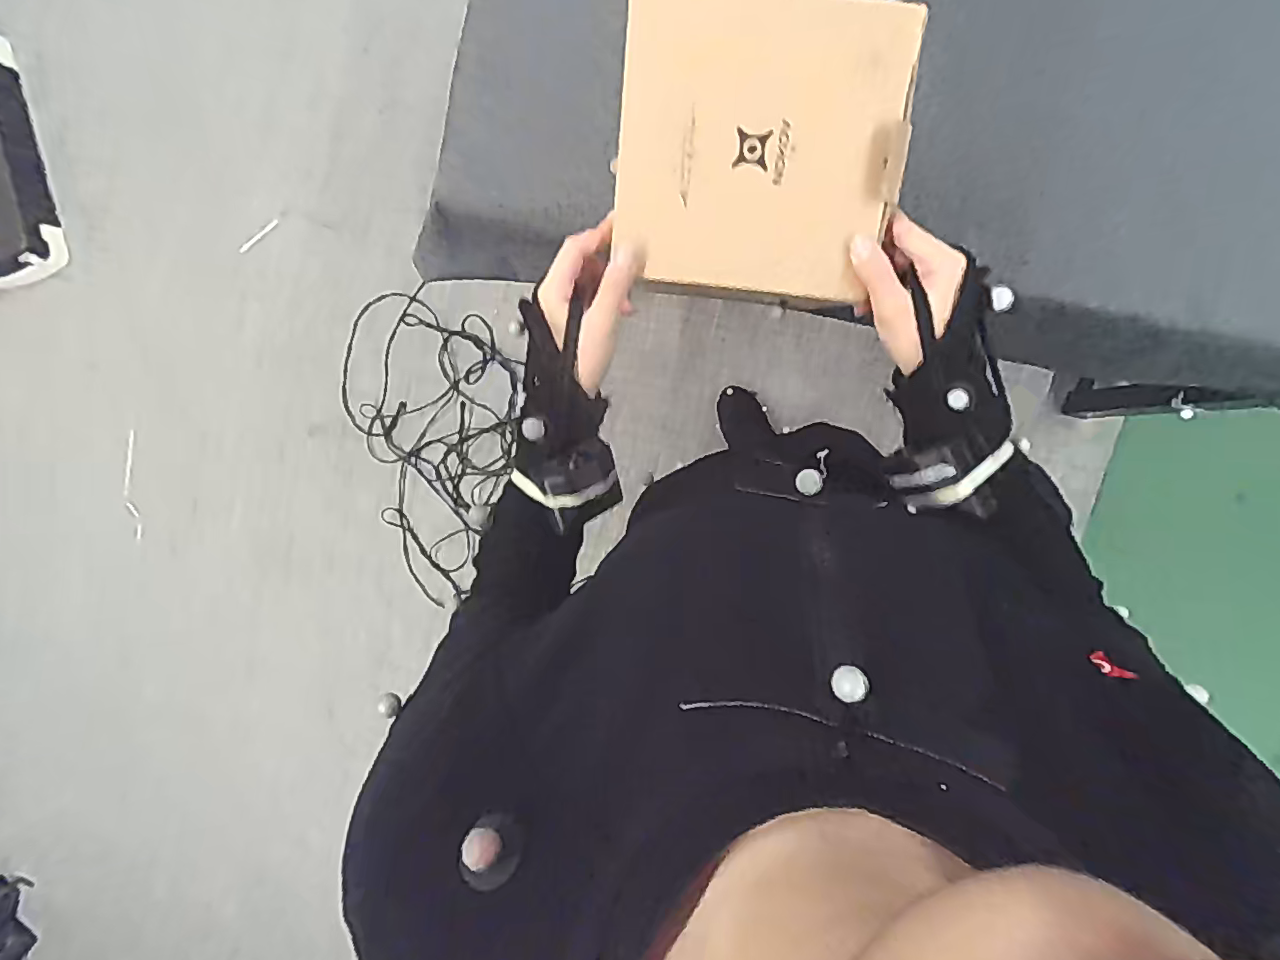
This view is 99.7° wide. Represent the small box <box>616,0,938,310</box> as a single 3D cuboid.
[{"bbox_3d":[0.081,-0.221,0.407,0.179,0.176,0.168,6,106,2],"label":"small box"}]
